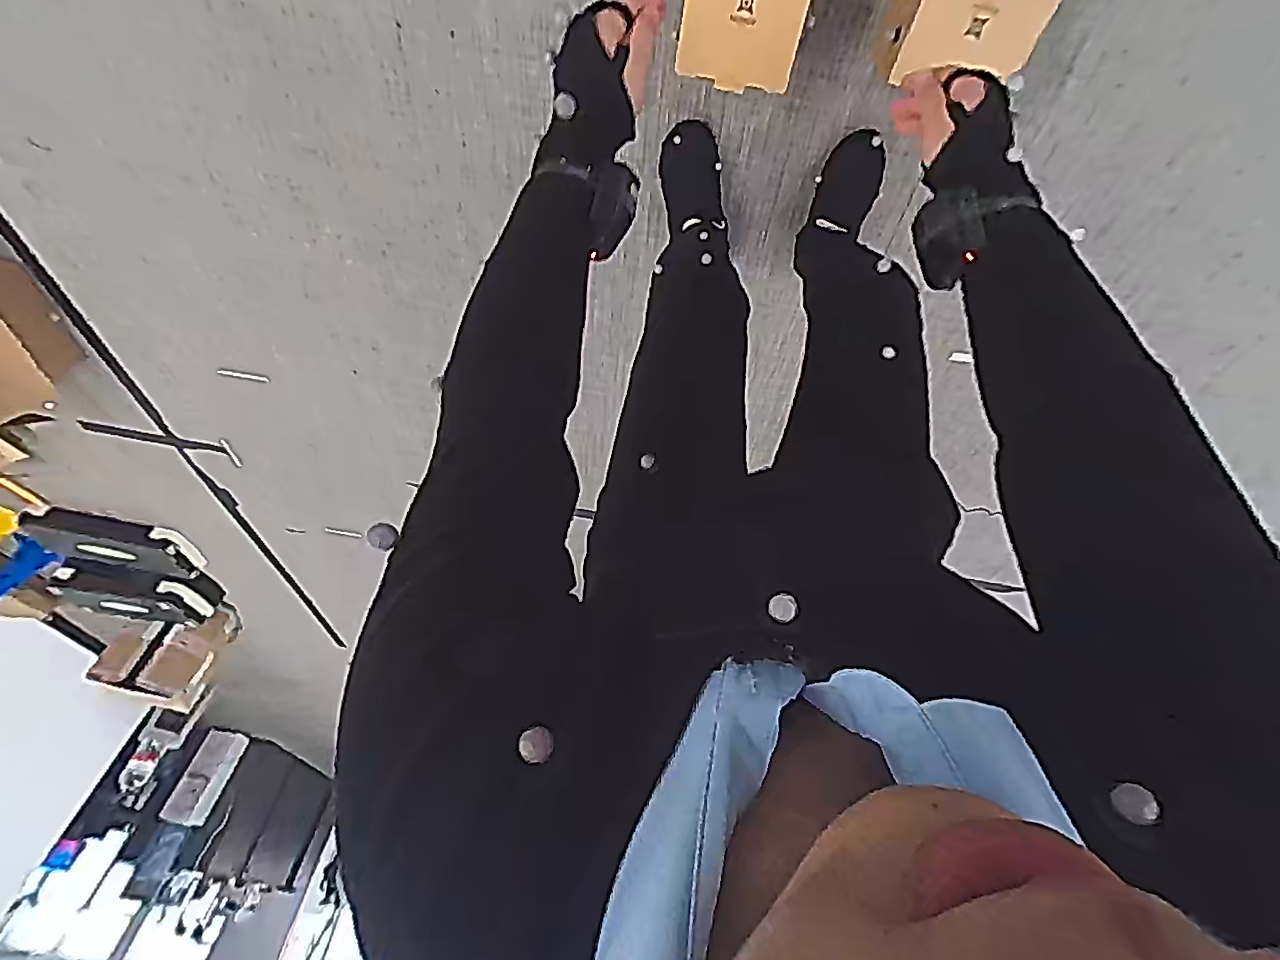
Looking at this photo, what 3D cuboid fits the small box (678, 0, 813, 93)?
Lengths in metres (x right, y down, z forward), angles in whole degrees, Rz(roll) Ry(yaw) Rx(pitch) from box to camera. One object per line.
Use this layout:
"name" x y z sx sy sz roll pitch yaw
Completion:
"small box" 0.153 -0.687 0.766 0.168 0.176 0.179 10 140 0

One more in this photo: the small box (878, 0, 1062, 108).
"small box" 0.449 -0.653 0.743 0.168 0.176 0.179 11 139 -3
